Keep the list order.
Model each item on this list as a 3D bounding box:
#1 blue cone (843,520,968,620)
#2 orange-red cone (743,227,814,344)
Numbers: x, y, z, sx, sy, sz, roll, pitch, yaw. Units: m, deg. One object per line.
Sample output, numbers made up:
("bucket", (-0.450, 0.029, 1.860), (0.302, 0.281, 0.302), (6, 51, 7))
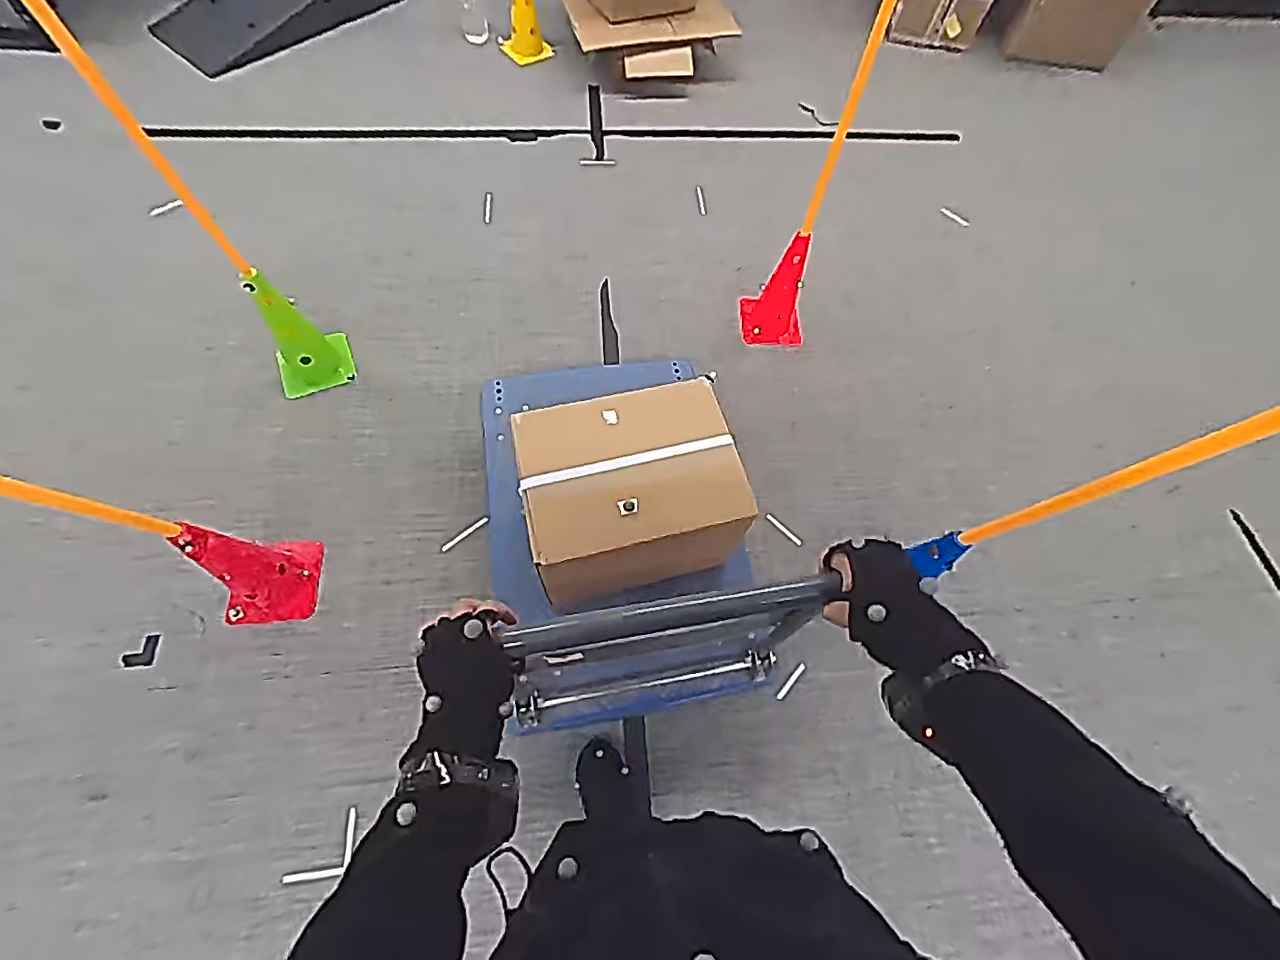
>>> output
("blue cone", (0.658, 0.195, 1.285), (0.193, 0.380, 0.192), (-6, 63, -8))
("orange-red cone", (0.455, -0.613, 1.654), (0.199, 0.360, 0.198), (4, 64, -4))
